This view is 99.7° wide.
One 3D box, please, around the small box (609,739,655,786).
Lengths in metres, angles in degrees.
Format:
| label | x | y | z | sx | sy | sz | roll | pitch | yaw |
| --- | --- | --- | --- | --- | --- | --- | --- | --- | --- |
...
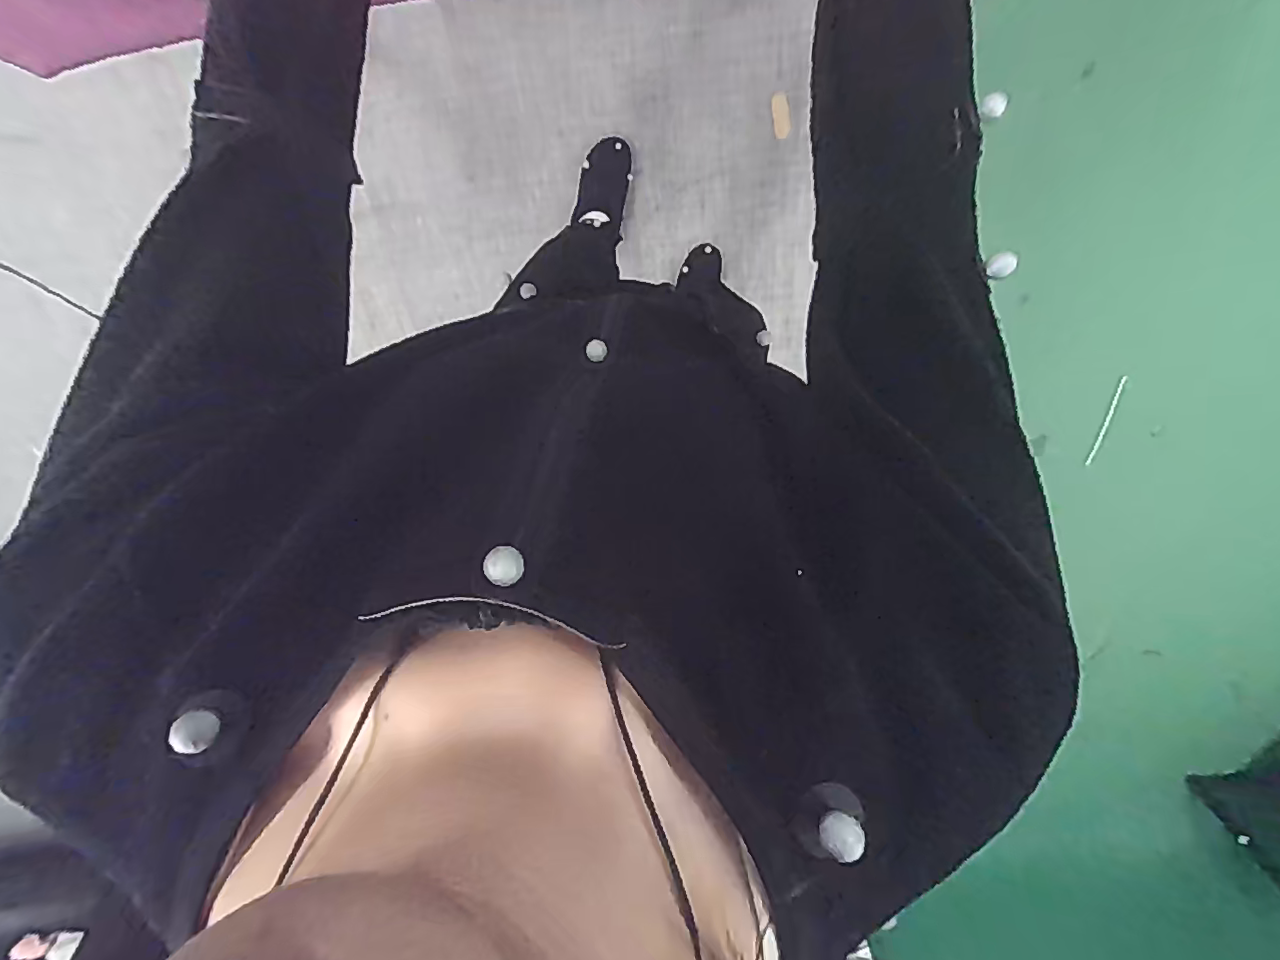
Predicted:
| label | x | y | z | sx | sy | sz | roll | pitch | yaw |
| --- | --- | --- | --- | --- | --- | --- | --- | --- | --- |
| small box | -0.033 | 1.183 | 2.218 | 0.168 | 0.176 | 0.179 | -9 | 124 | 3 |

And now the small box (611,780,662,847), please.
| label | x | y | z | sx | sy | sz | roll | pitch | yaw |
| --- | --- | --- | --- | --- | --- | --- | --- | --- | --- |
| small box | -0.015 | 1.280 | 2.085 | 0.179 | 0.176 | 0.168 | -8 | 125 | 3 |
